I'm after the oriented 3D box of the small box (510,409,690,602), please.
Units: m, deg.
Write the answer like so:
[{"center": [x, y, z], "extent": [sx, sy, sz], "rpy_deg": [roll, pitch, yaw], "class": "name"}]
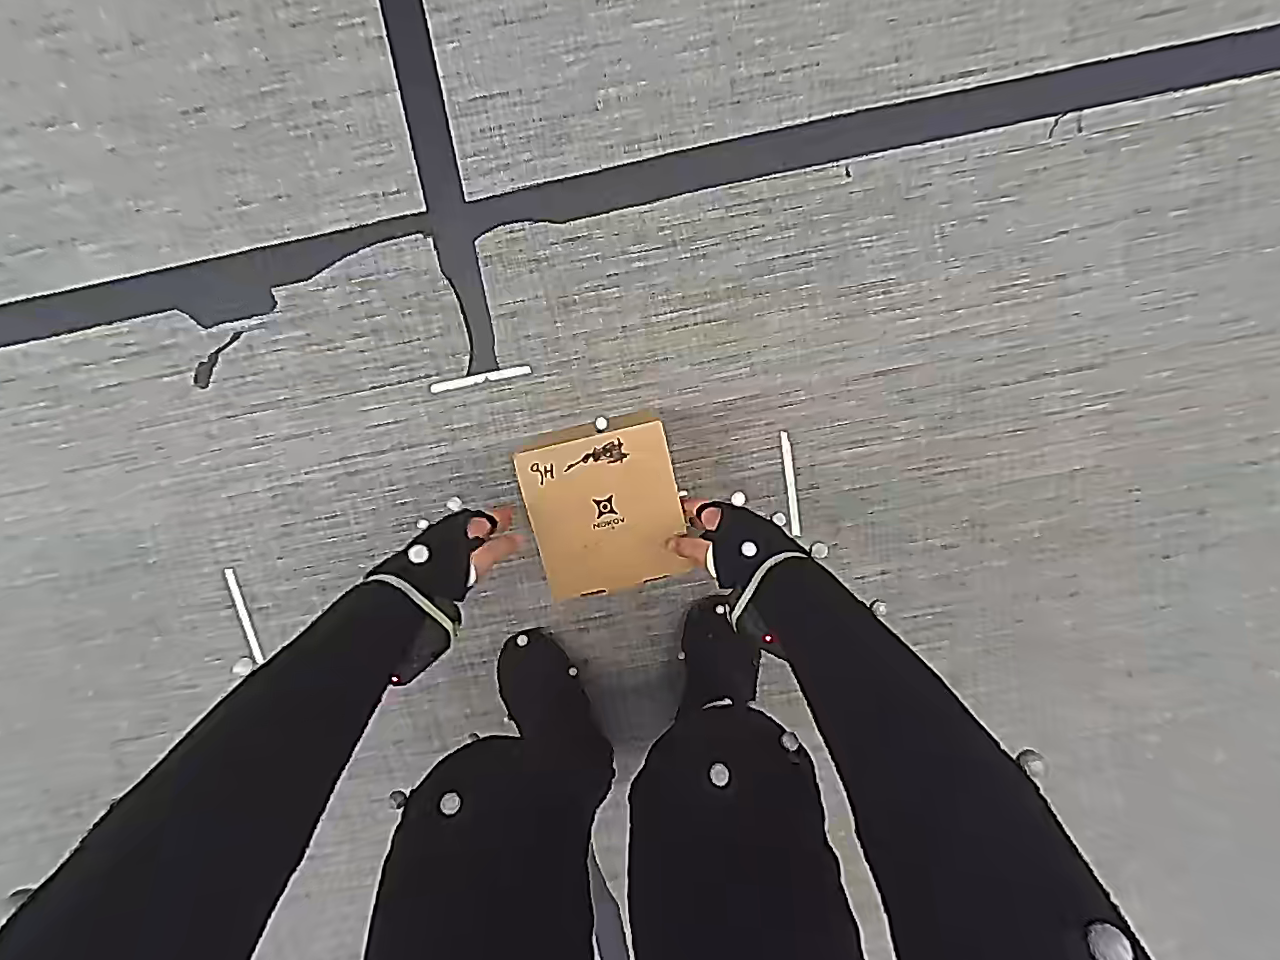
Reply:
[{"center": [-0.040, 0.020, 0.659], "extent": [0.168, 0.176, 0.179], "rpy_deg": [-13, 102, 2], "class": "small box"}]
